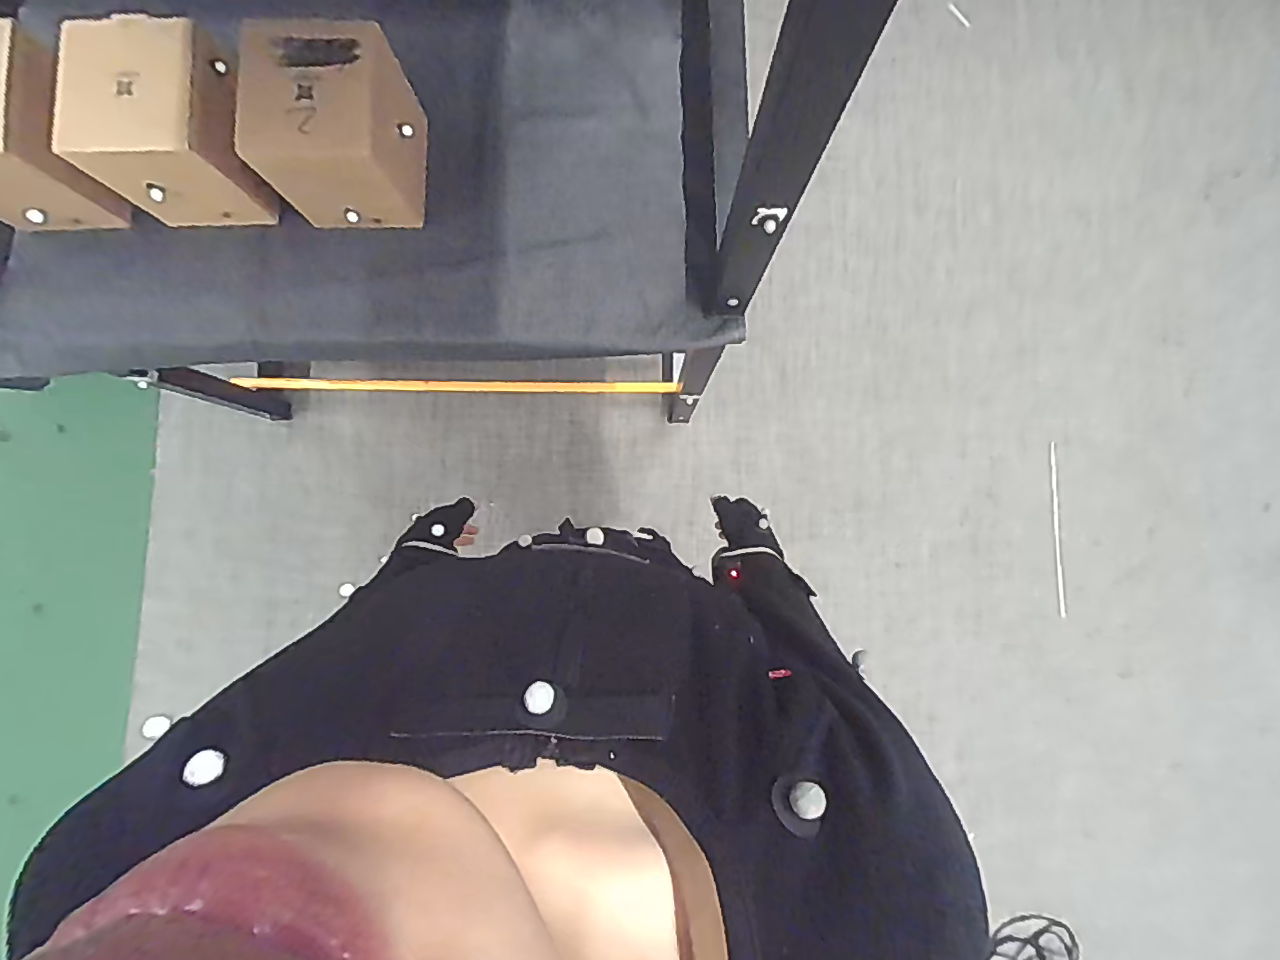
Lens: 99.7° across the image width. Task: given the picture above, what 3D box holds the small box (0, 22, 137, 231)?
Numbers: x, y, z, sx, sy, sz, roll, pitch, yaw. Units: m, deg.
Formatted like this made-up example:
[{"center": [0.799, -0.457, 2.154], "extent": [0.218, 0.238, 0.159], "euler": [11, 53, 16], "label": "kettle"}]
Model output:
[{"center": [-0.840, -0.468, 0.735], "extent": [0.168, 0.176, 0.179], "euler": [-2, 85, 0], "label": "small box"}]
